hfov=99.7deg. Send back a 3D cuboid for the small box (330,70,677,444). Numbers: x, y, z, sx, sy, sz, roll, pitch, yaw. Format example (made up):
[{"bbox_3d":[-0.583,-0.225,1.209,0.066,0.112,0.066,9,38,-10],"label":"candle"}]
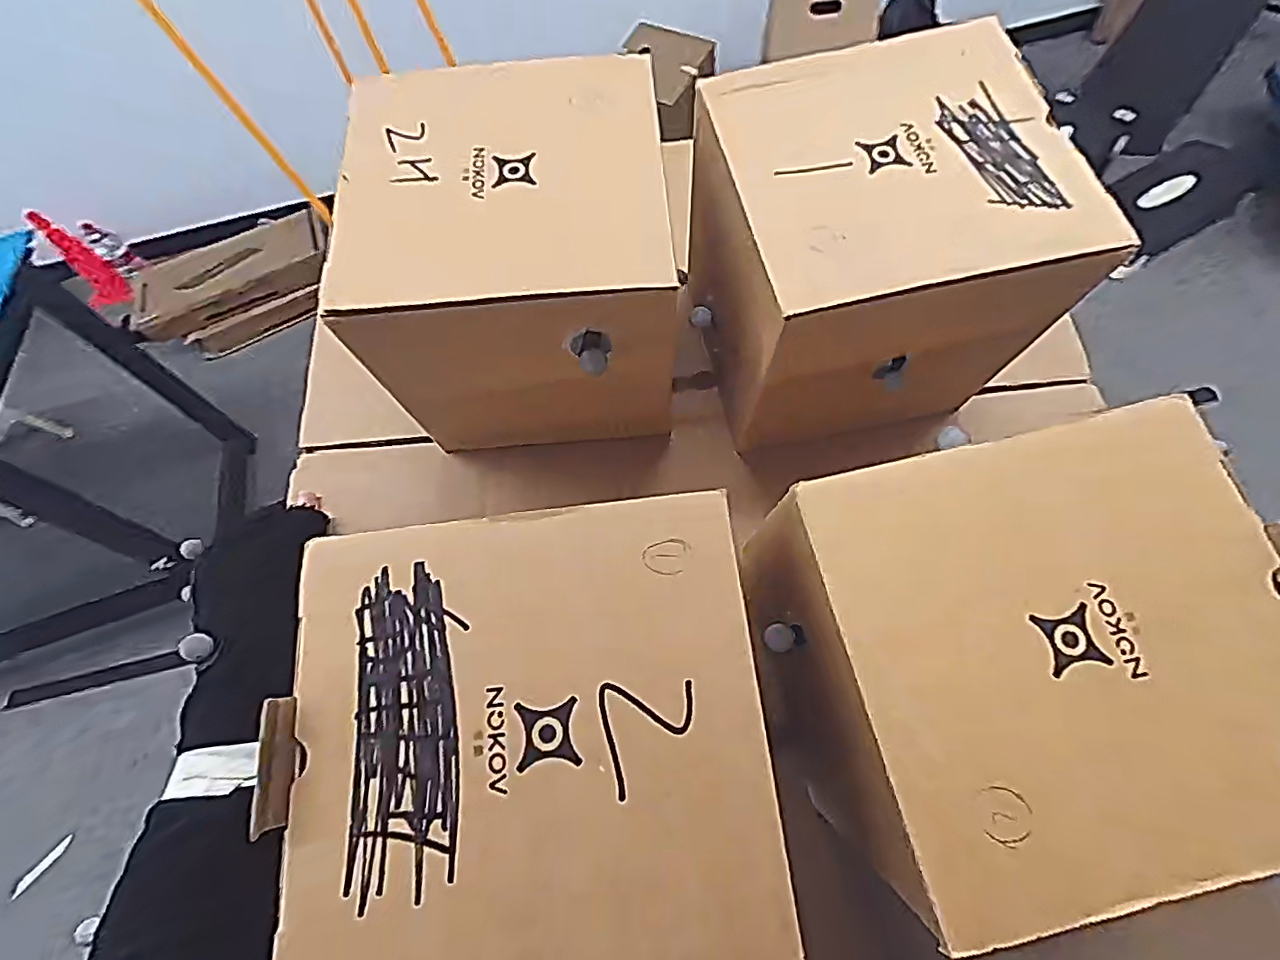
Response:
[{"bbox_3d":[-0.070,-0.134,0.370,0.179,0.176,0.168,-4,70,1],"label":"small box"}]
